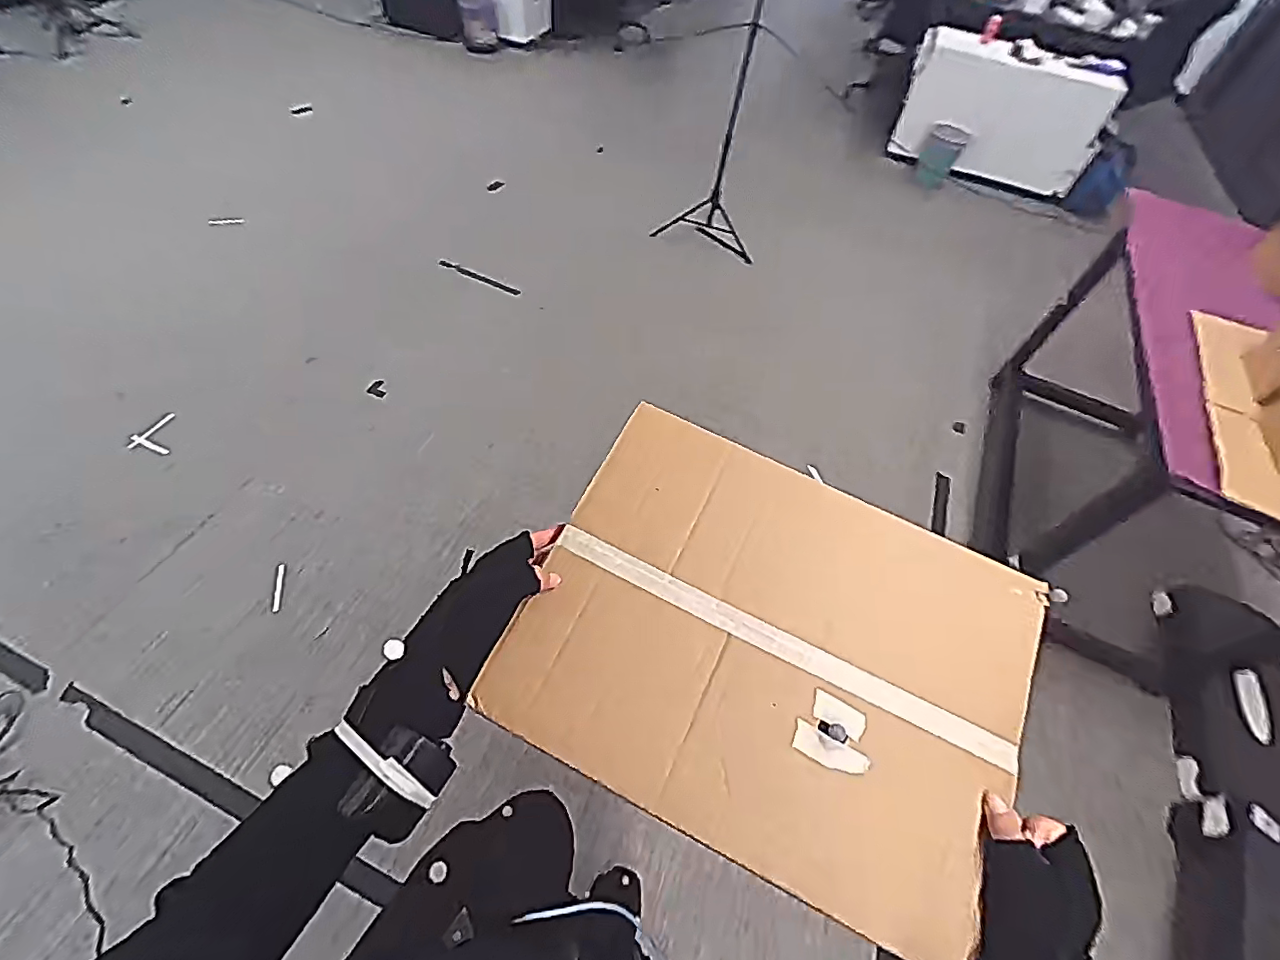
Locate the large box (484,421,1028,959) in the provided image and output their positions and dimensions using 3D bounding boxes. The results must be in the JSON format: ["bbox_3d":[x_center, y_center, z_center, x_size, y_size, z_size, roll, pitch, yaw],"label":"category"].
[{"bbox_3d":[0.106,0.201,0.600,0.408,0.320,0.320,25,68,8],"label":"large box"}]
